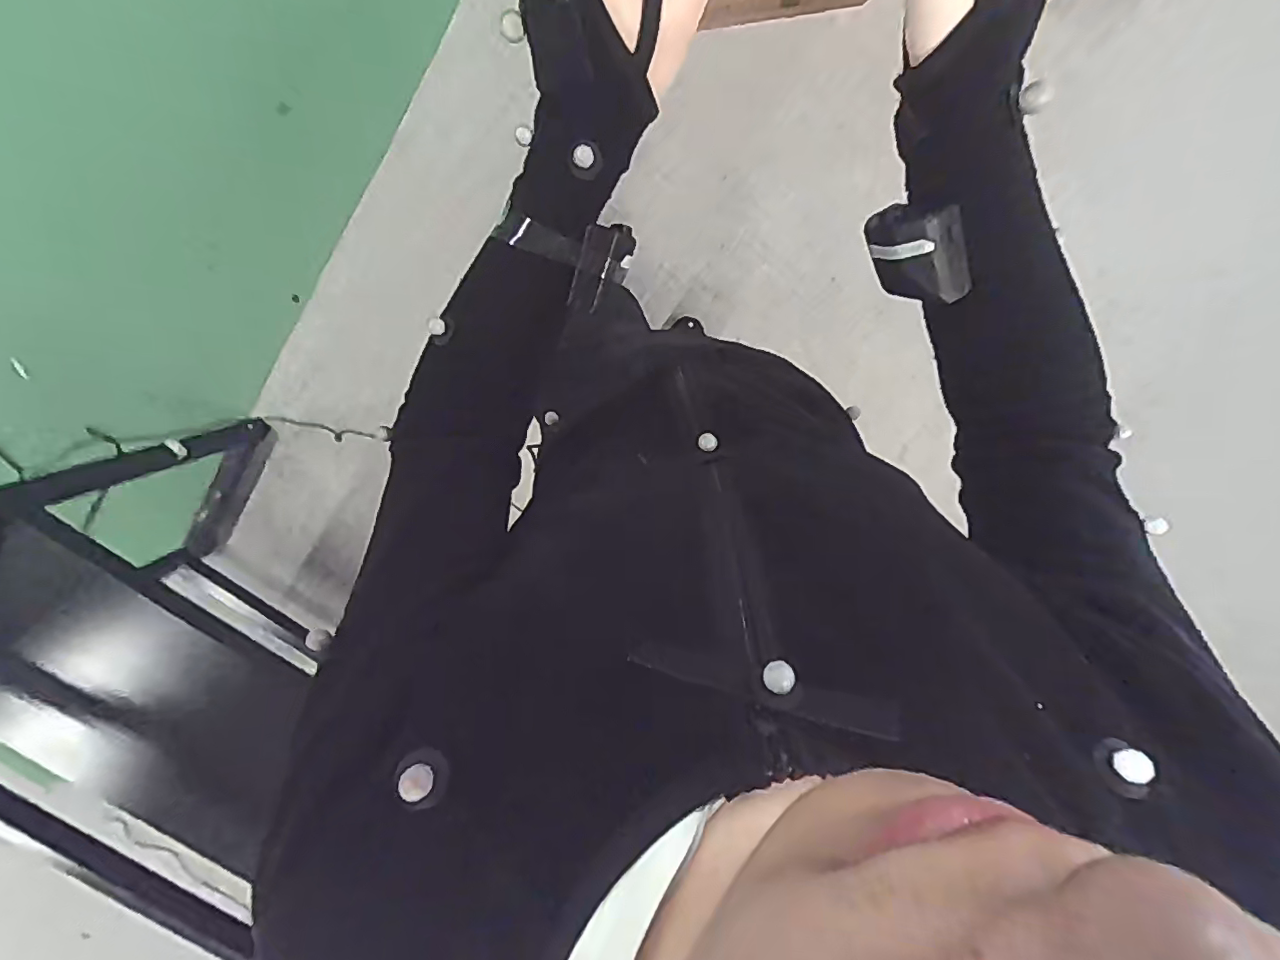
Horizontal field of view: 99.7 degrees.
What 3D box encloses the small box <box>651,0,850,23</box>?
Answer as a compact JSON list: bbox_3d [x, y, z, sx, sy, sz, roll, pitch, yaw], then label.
[{"bbox_3d":[0.073,-0.406,0.296,0.168,0.176,0.179,-2,104,7],"label":"small box"}]
